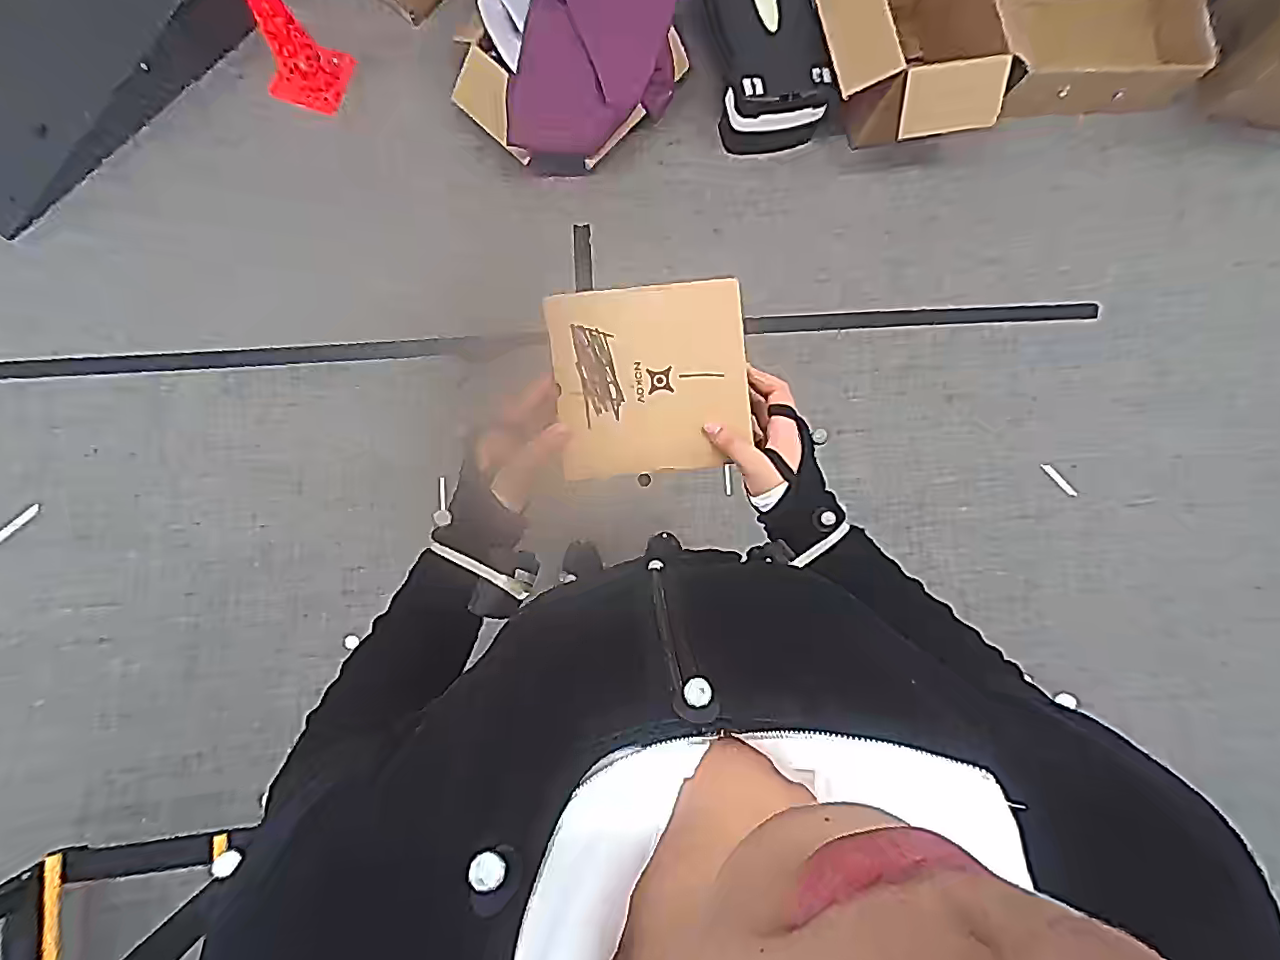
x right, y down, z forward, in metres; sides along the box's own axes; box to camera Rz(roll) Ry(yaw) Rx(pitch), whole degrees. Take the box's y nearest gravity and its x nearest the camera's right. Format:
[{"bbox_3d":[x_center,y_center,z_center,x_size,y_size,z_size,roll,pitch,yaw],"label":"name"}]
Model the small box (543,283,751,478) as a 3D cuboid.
[{"bbox_3d":[0.005,-0.090,0.558,0.179,0.176,0.168,-5,93,-2],"label":"small box"}]
